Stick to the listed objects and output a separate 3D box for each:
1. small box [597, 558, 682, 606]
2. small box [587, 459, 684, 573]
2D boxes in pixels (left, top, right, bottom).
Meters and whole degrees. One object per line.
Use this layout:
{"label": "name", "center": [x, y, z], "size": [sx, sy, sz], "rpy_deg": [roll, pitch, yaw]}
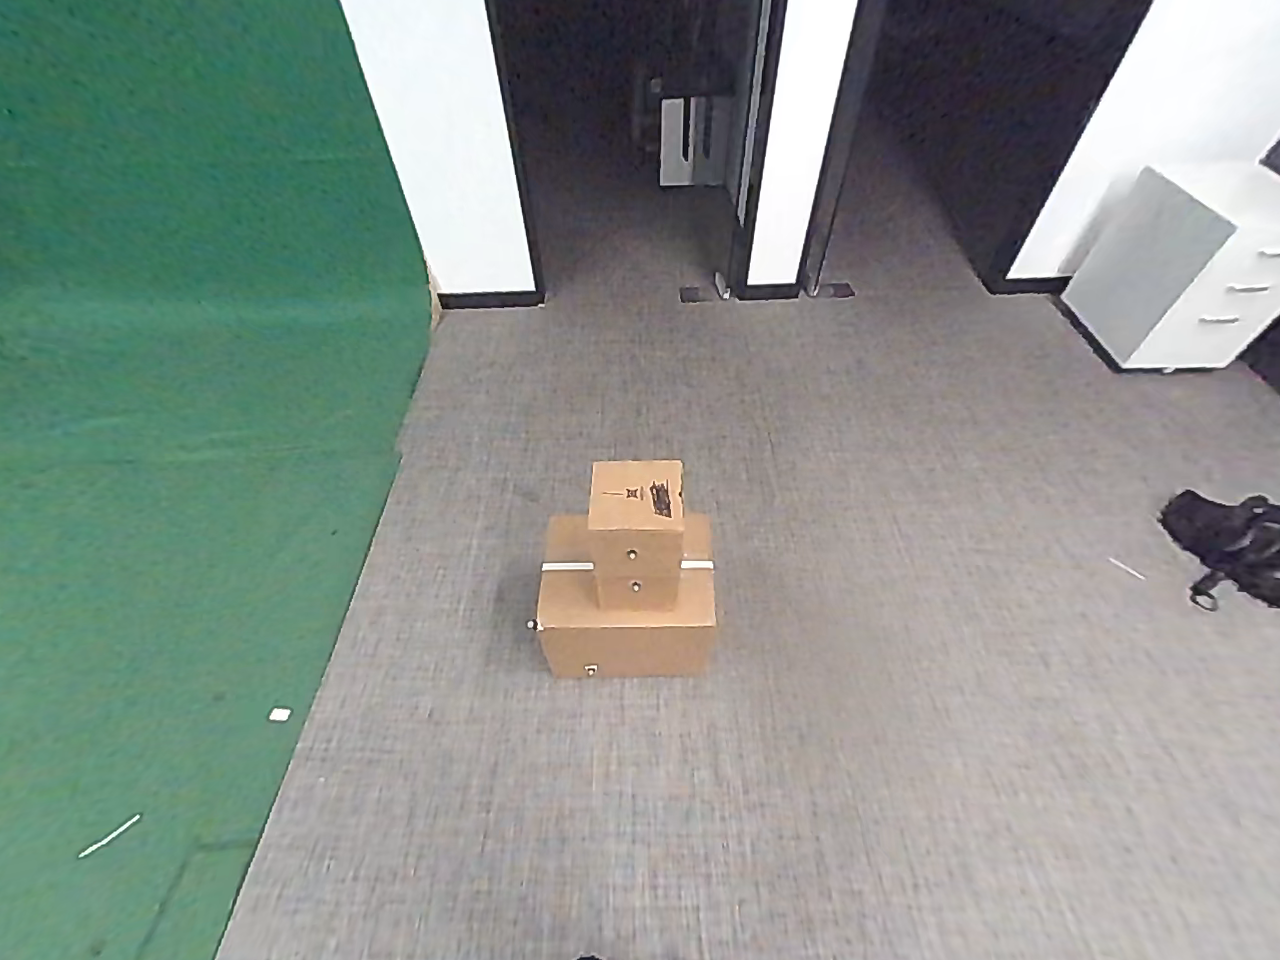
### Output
{"label": "small box", "center": [0.000, 0.173, 1.205], "size": [0.179, 0.176, 0.168], "rpy_deg": [-1, 52, 0]}
{"label": "small box", "center": [-0.004, 0.074, 1.074], "size": [0.179, 0.176, 0.168], "rpy_deg": [-1, 51, 3]}
